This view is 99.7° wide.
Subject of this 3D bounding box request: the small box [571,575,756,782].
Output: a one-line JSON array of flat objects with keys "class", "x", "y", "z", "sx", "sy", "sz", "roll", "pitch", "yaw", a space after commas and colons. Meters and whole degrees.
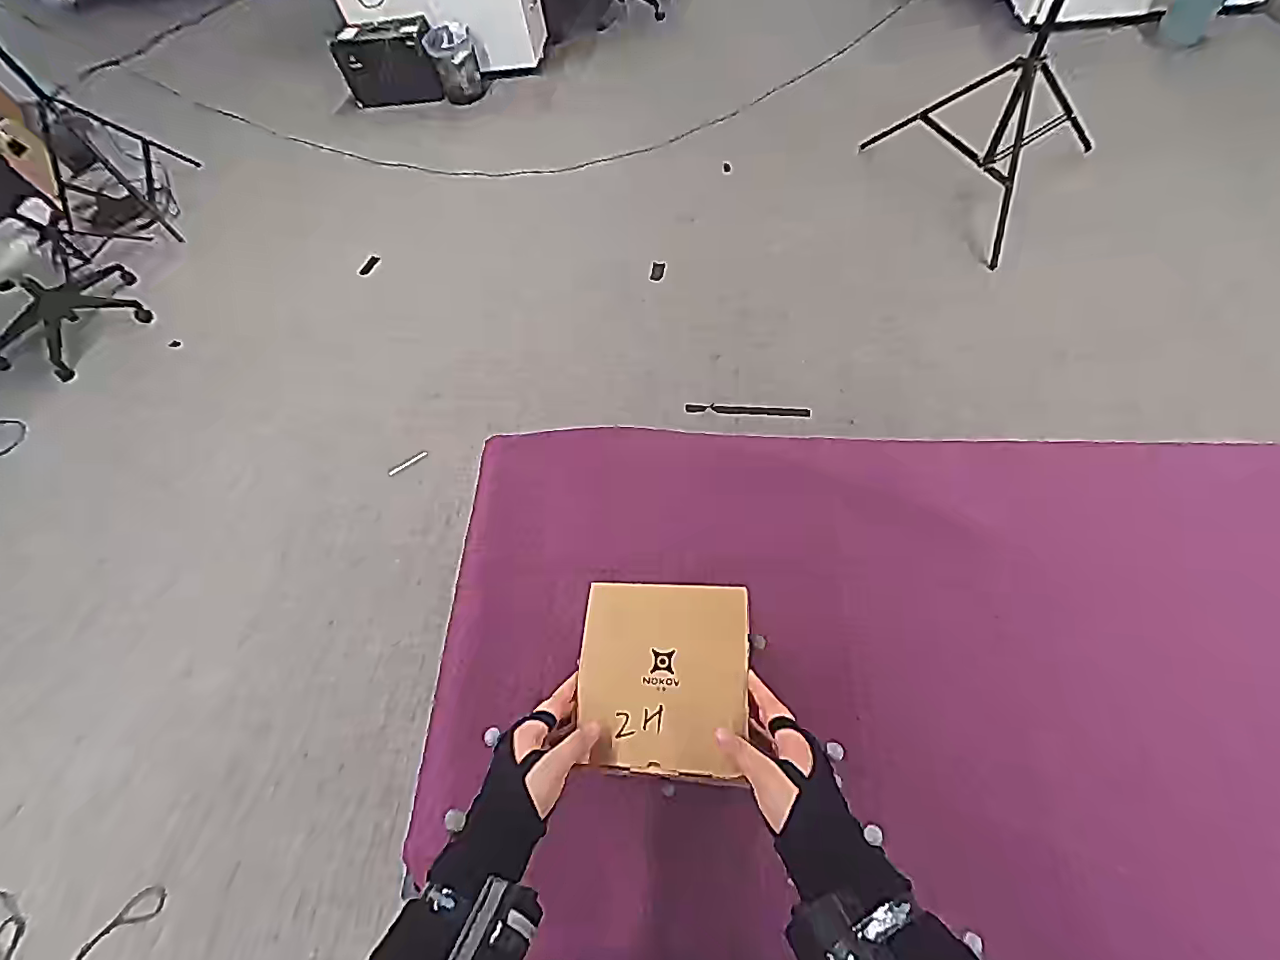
[{"class": "small box", "x": 0.038, "y": 0.216, "z": 0.580, "sx": 0.168, "sy": 0.176, "sz": 0.179, "roll": -1, "pitch": 60, "yaw": 11}]
